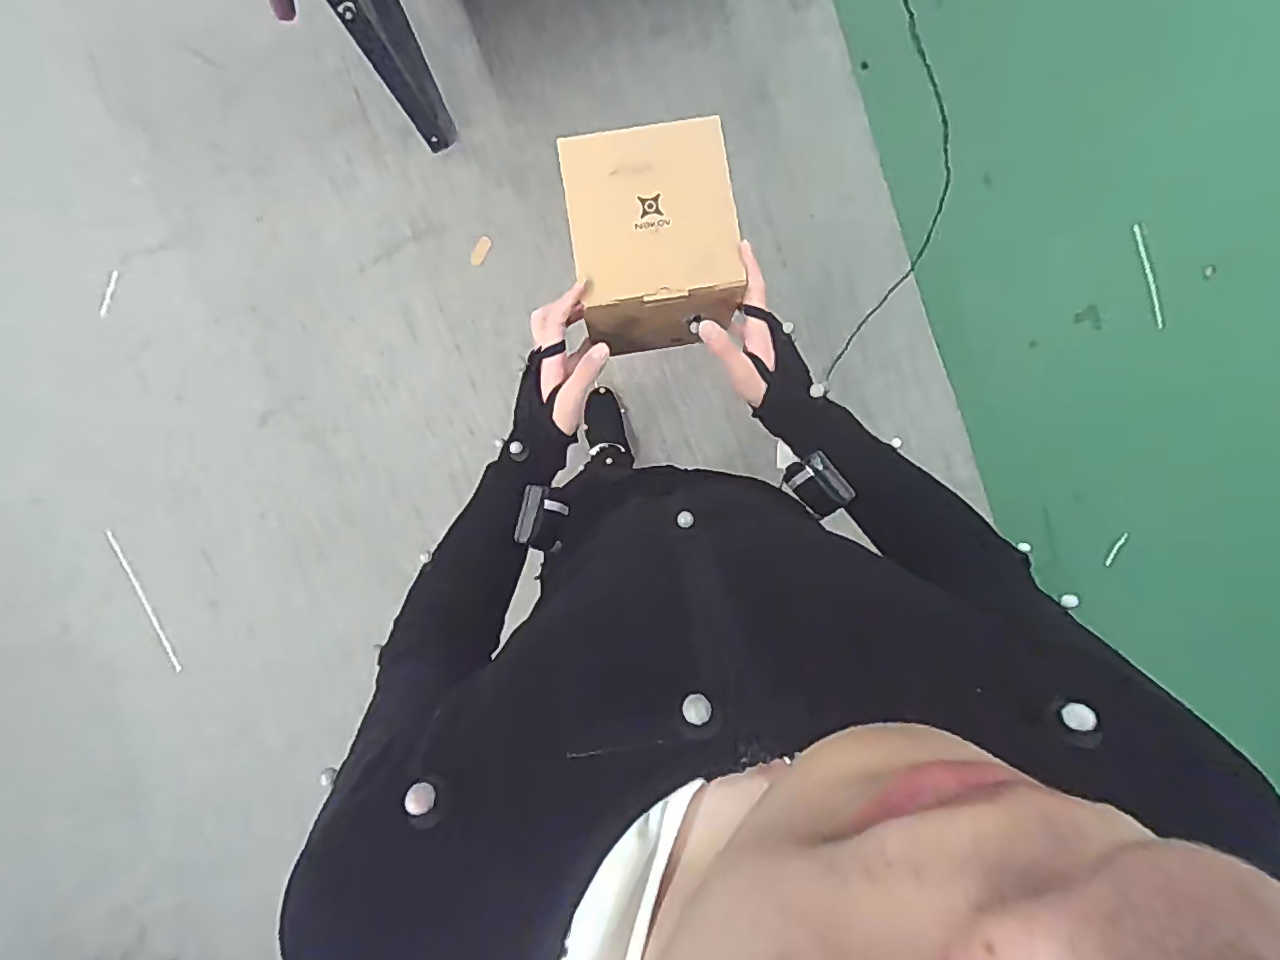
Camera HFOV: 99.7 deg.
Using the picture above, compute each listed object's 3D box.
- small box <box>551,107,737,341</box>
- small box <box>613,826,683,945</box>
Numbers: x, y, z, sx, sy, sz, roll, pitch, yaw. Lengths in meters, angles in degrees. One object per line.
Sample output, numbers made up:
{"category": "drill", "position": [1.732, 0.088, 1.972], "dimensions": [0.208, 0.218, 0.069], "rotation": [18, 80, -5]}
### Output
{"category": "small box", "position": [0.004, -0.265, 0.605], "dimensions": [0.168, 0.176, 0.179], "rotation": [-8, 86, -1]}
{"category": "small box", "position": [0.018, 1.003, 1.345], "dimensions": [0.168, 0.176, 0.179], "rotation": [0, 94, -1]}
